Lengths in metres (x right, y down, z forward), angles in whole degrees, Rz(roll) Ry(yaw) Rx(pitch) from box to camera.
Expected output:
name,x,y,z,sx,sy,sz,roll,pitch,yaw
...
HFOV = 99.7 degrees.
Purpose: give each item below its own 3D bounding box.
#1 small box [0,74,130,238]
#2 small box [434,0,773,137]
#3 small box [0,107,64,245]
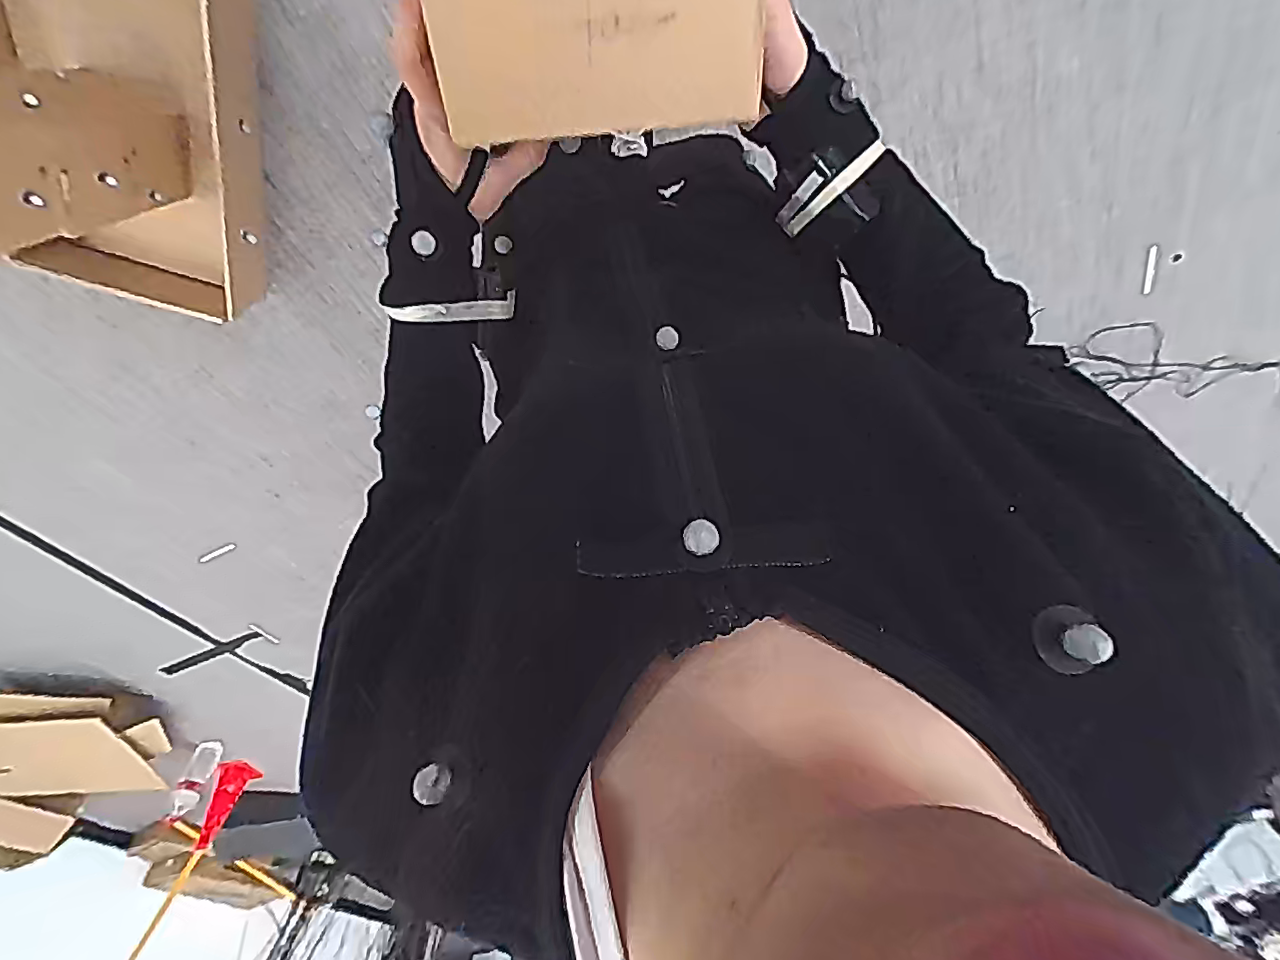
name,x,y,z,sx,sy,sz,roll,pitch,yaw
small box,-0.976,-0.528,0.876,0.179,0.176,0.168,18,124,-18
small box,-0.032,-0.302,0.297,0.168,0.176,0.179,-9,129,-8
small box,-0.969,-0.435,0.742,0.179,0.176,0.168,17,124,-17
